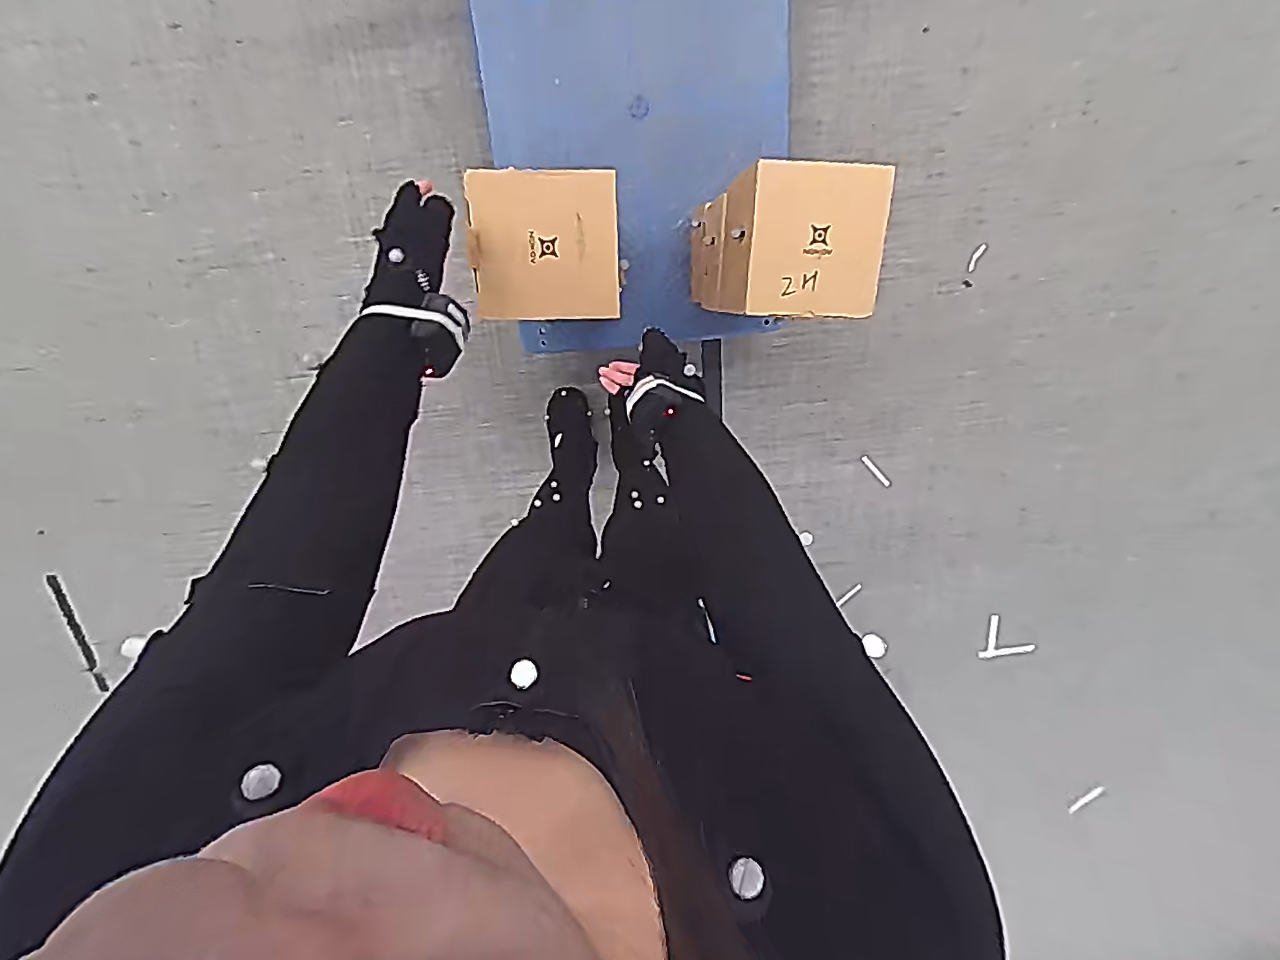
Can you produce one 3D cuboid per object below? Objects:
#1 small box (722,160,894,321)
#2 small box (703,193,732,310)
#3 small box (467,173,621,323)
[{"bbox_3d":[0.211,-0.311,0.731,0.168,0.176,0.179,1,109,-3],"label":"small box"},{"bbox_3d":[0.202,-0.364,0.887,0.179,0.176,0.168,-1,110,-4],"label":"small box"},{"bbox_3d":[-0.114,-0.300,0.719,0.179,0.176,0.168,-1,111,-3],"label":"small box"}]
